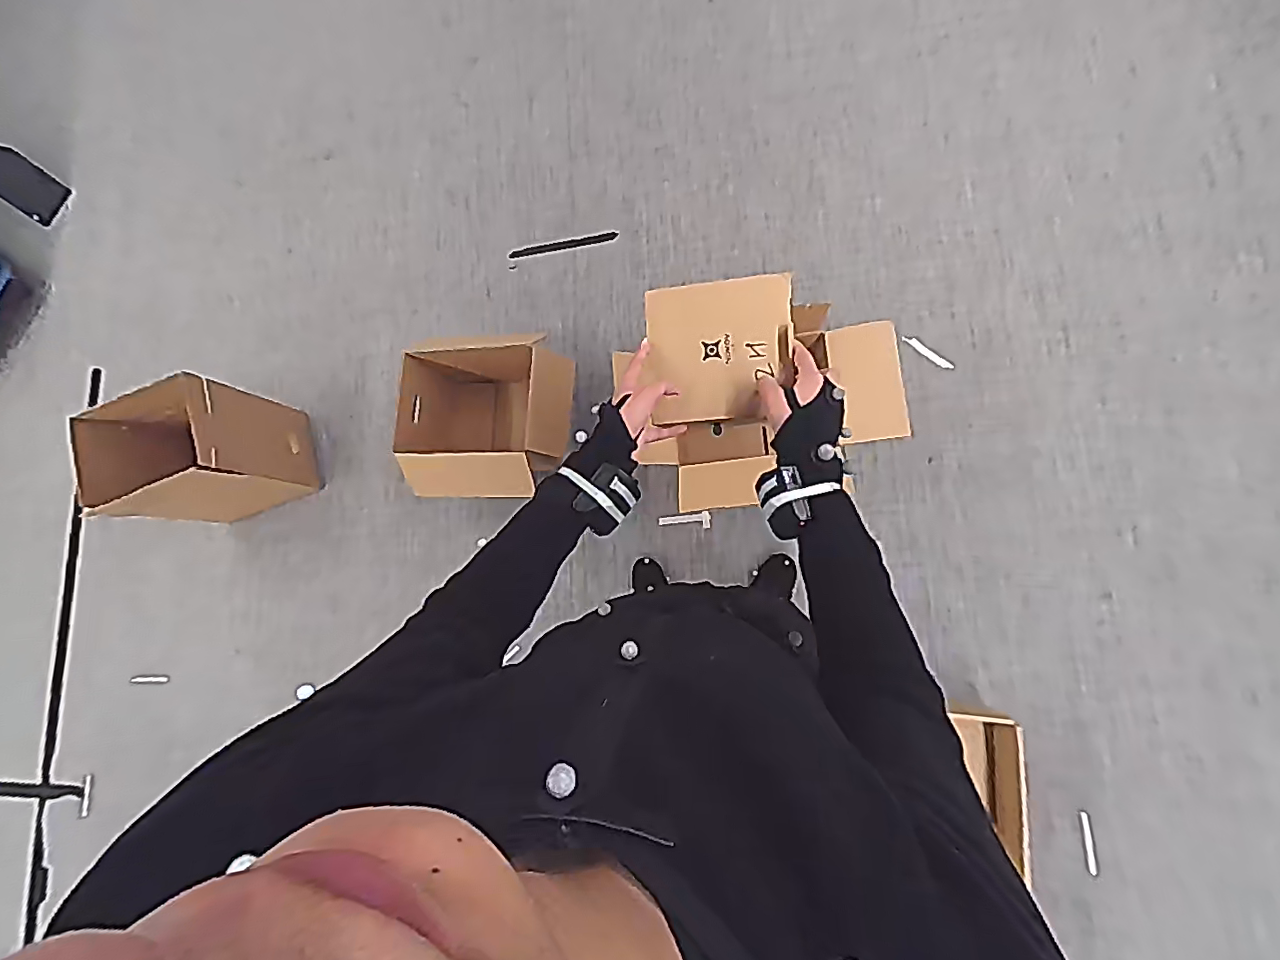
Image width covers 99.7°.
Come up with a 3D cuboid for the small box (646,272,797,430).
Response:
[{"bbox_3d":[0.112,-0.157,0.717,0.179,0.176,0.168,-3,91,13],"label":"small box"}]
